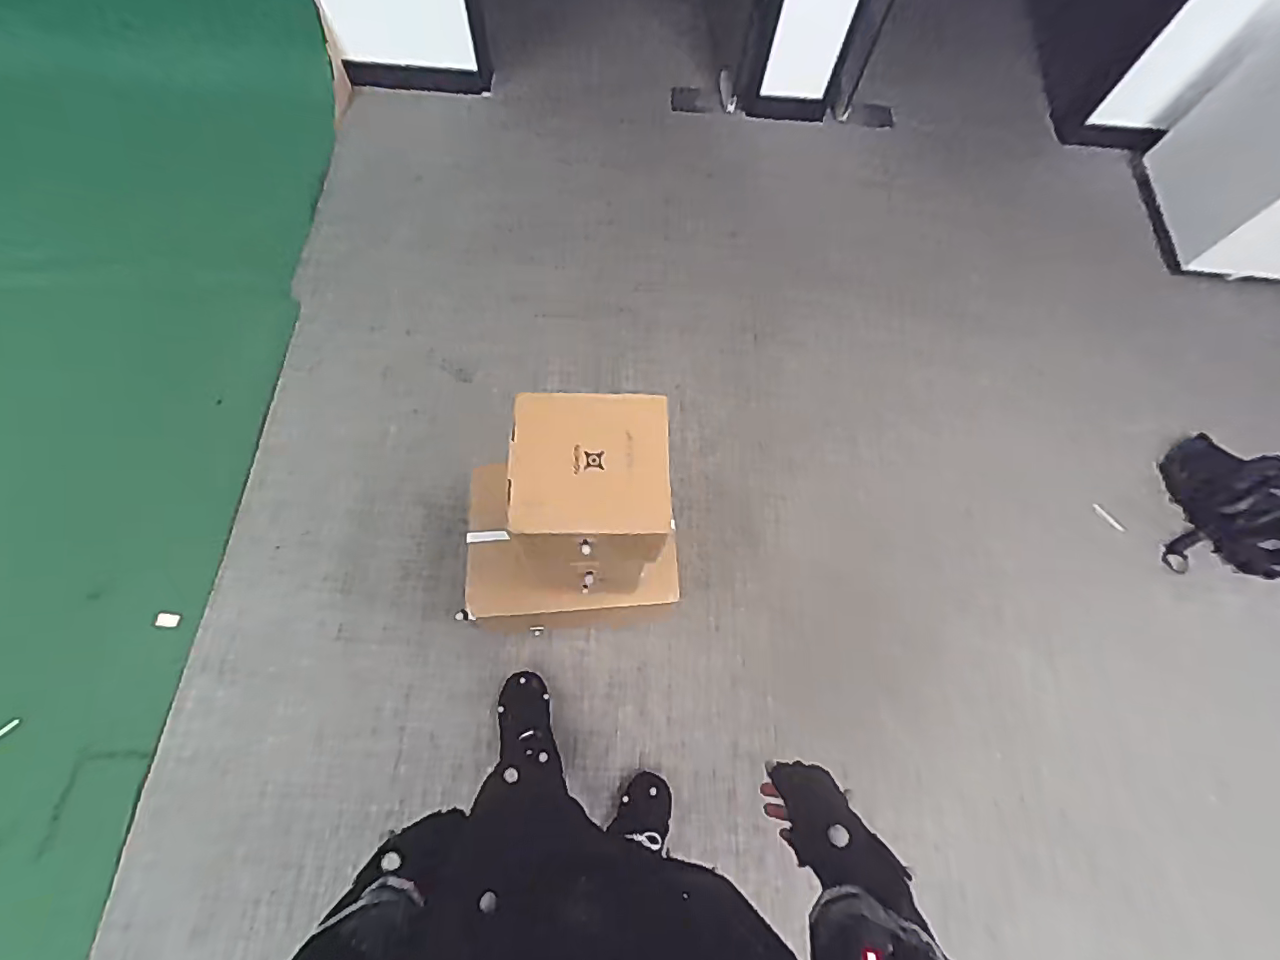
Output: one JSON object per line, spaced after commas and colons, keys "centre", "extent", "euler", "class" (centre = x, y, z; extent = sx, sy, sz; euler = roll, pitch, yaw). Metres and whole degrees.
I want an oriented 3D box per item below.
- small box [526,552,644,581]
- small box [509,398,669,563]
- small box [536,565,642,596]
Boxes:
{"centre": [-0.080, 0.059, 0.836], "extent": [0.168, 0.176, 0.179], "euler": [-1, 70, -4], "class": "small box"}
{"centre": [-0.061, 0.009, 0.683], "extent": [0.179, 0.176, 0.168], "euler": [0, 71, -5], "class": "small box"}
{"centre": [-0.089, 0.117, 0.988], "extent": [0.179, 0.176, 0.168], "euler": [1, 69, -3], "class": "small box"}
